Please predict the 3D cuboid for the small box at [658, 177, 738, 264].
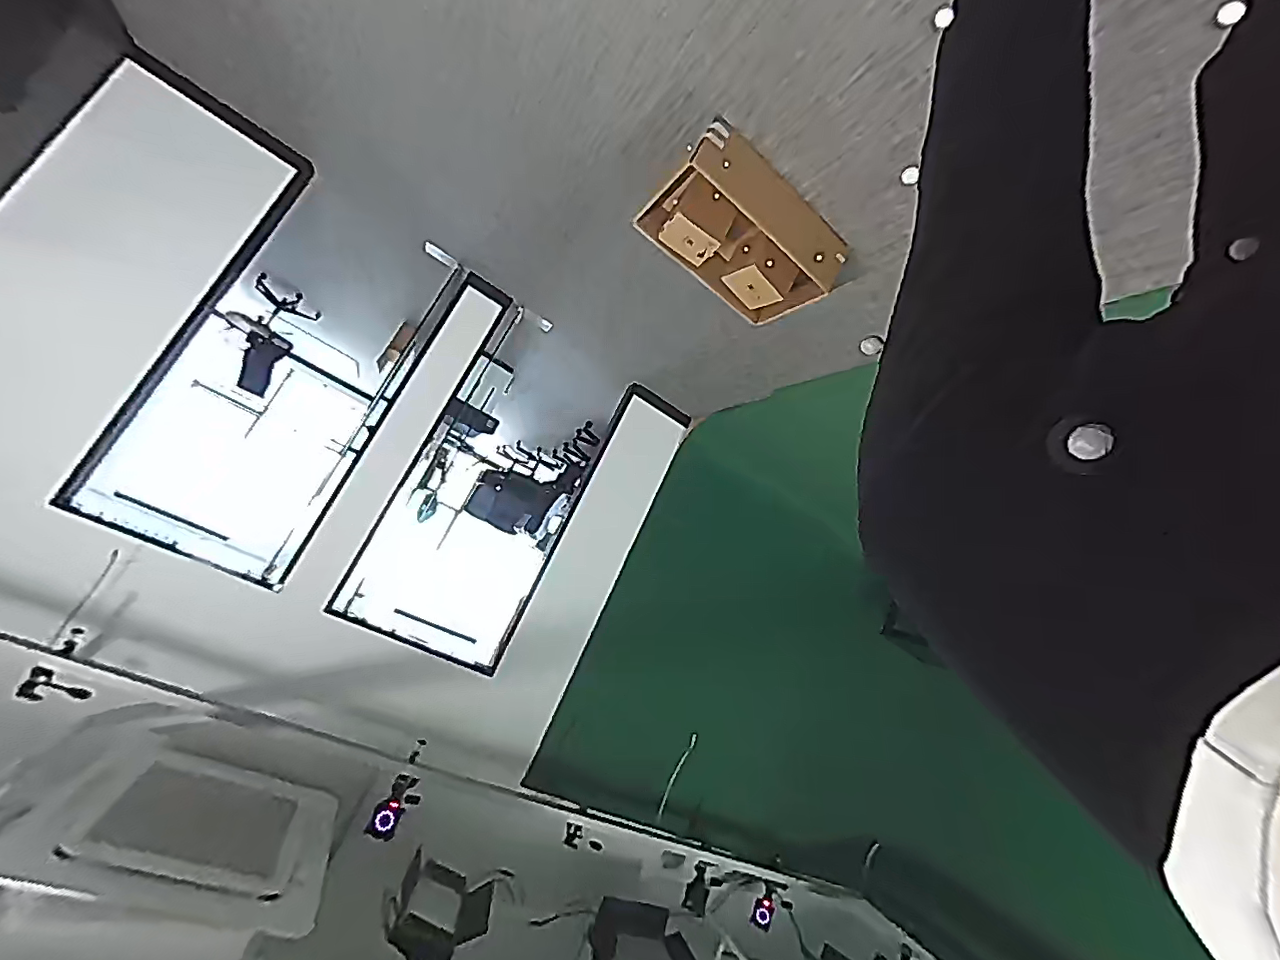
[{"bbox_3d":[0.192,-0.861,1.785,0.179,0.176,0.168,29,166,-18],"label":"small box"}]
